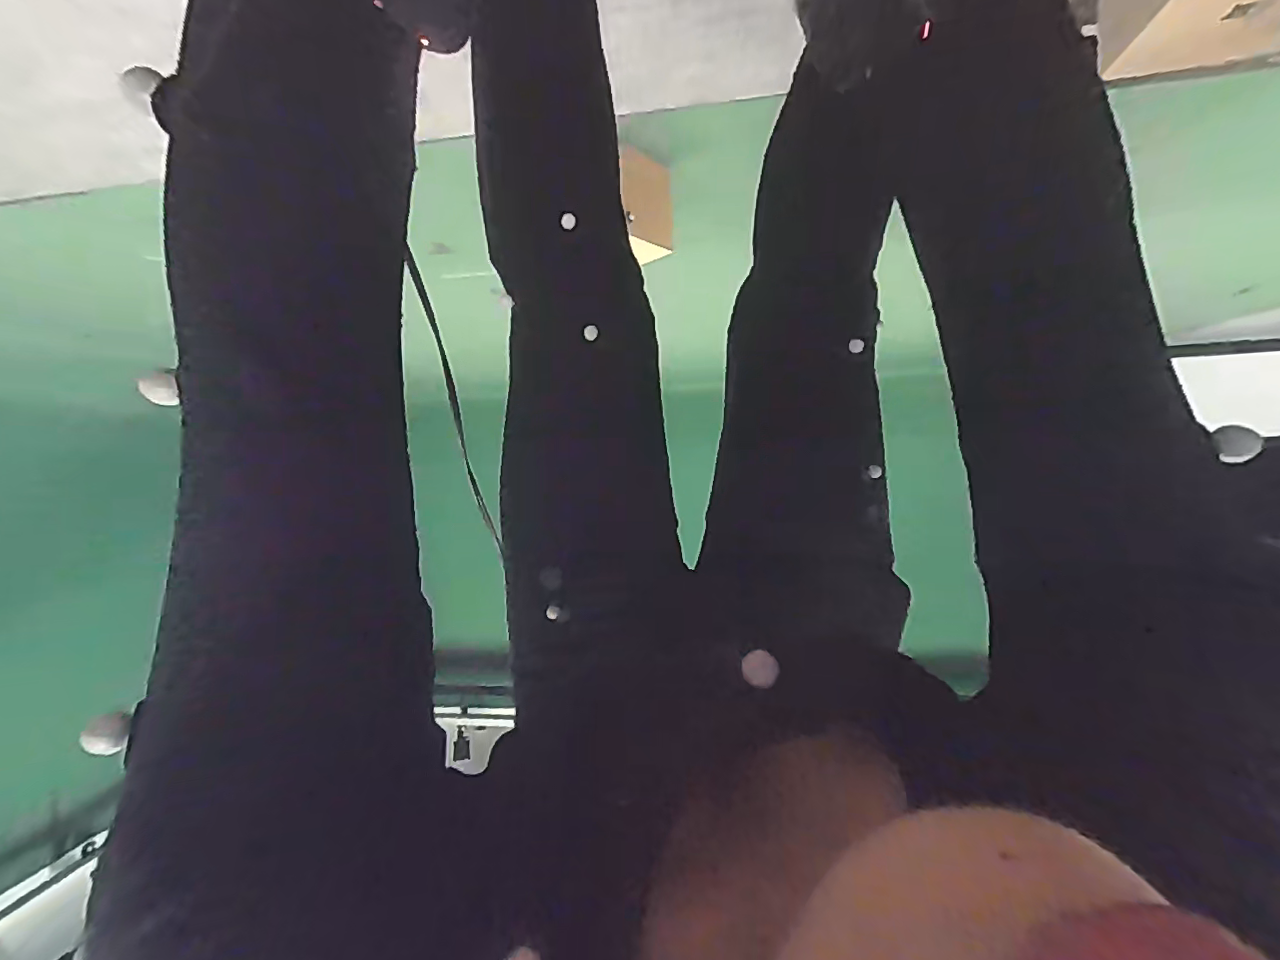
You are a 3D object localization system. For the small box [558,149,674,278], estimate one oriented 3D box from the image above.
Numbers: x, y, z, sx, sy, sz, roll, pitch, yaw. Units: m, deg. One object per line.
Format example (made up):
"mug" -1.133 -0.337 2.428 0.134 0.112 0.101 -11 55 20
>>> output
"small box" -0.048 -0.529 1.090 0.168 0.176 0.179 -1 -178 44

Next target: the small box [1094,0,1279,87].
"small box" 0.589 -0.537 0.527 0.179 0.176 0.168 -2 -177 14
